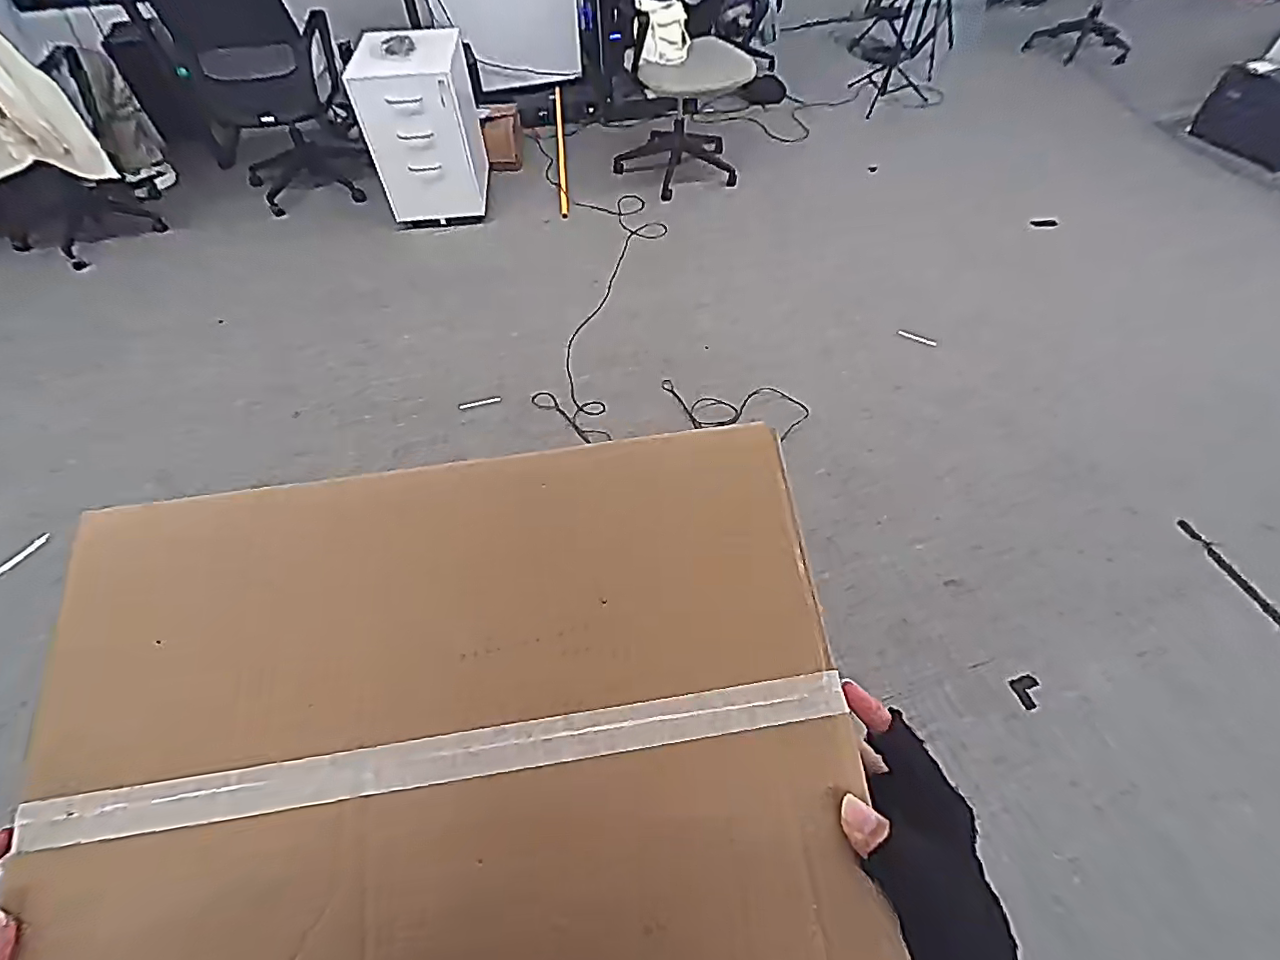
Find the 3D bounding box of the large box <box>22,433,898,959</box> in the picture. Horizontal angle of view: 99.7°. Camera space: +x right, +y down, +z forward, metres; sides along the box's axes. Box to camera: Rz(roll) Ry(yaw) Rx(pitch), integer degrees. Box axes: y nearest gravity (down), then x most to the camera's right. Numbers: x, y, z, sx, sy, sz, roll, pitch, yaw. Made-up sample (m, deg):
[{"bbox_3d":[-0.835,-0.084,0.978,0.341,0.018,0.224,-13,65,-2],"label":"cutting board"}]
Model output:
[{"bbox_3d":[-0.093,0.190,0.420,0.408,0.320,0.320,-8,70,-3],"label":"large box"}]
